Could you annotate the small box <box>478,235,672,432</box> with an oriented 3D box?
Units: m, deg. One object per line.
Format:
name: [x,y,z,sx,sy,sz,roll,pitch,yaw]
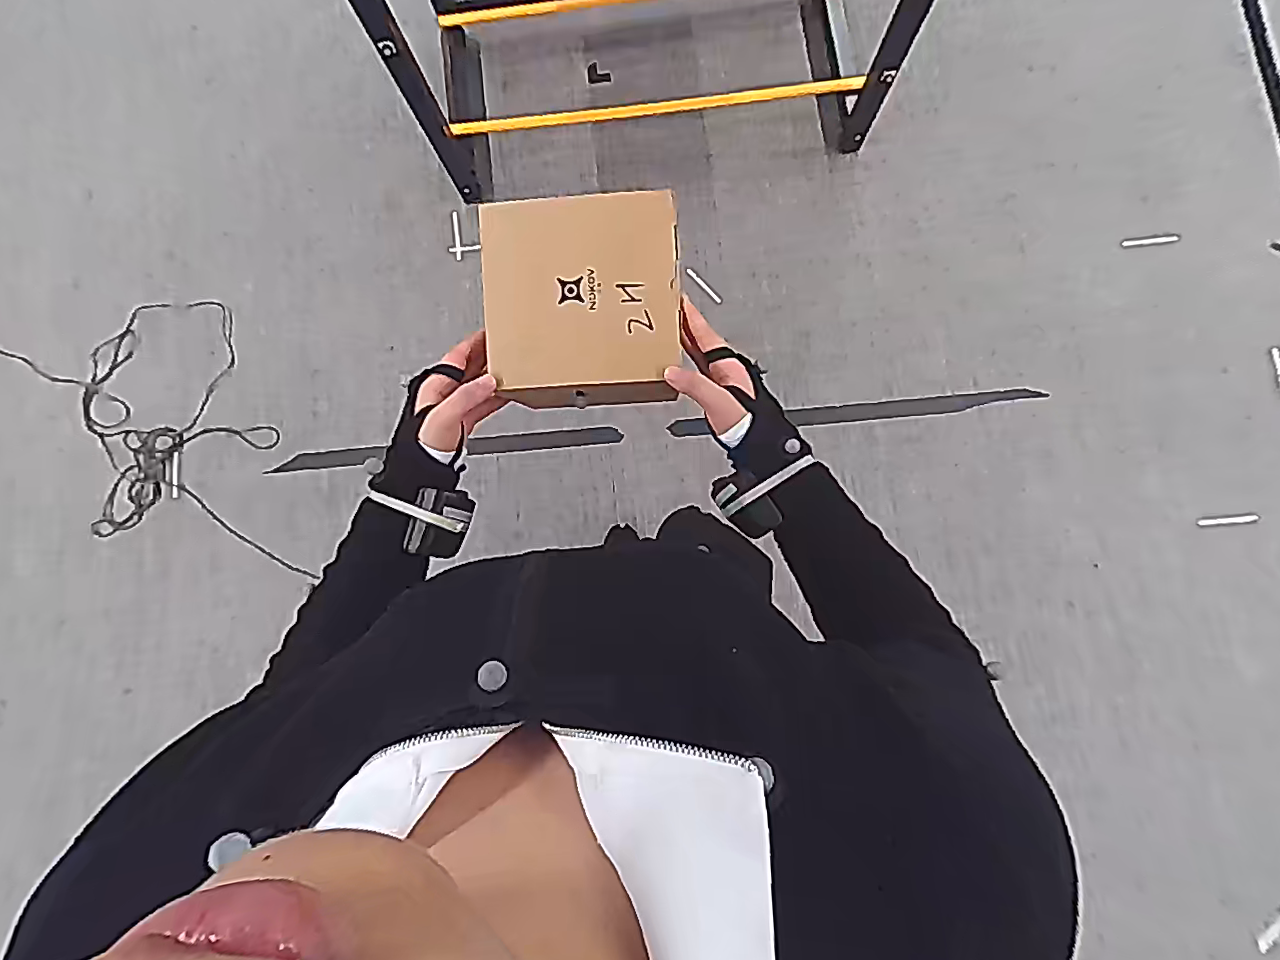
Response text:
small box: [-0.056,-0.139,0.571,0.179,0.176,0.168,-2,92,2]
